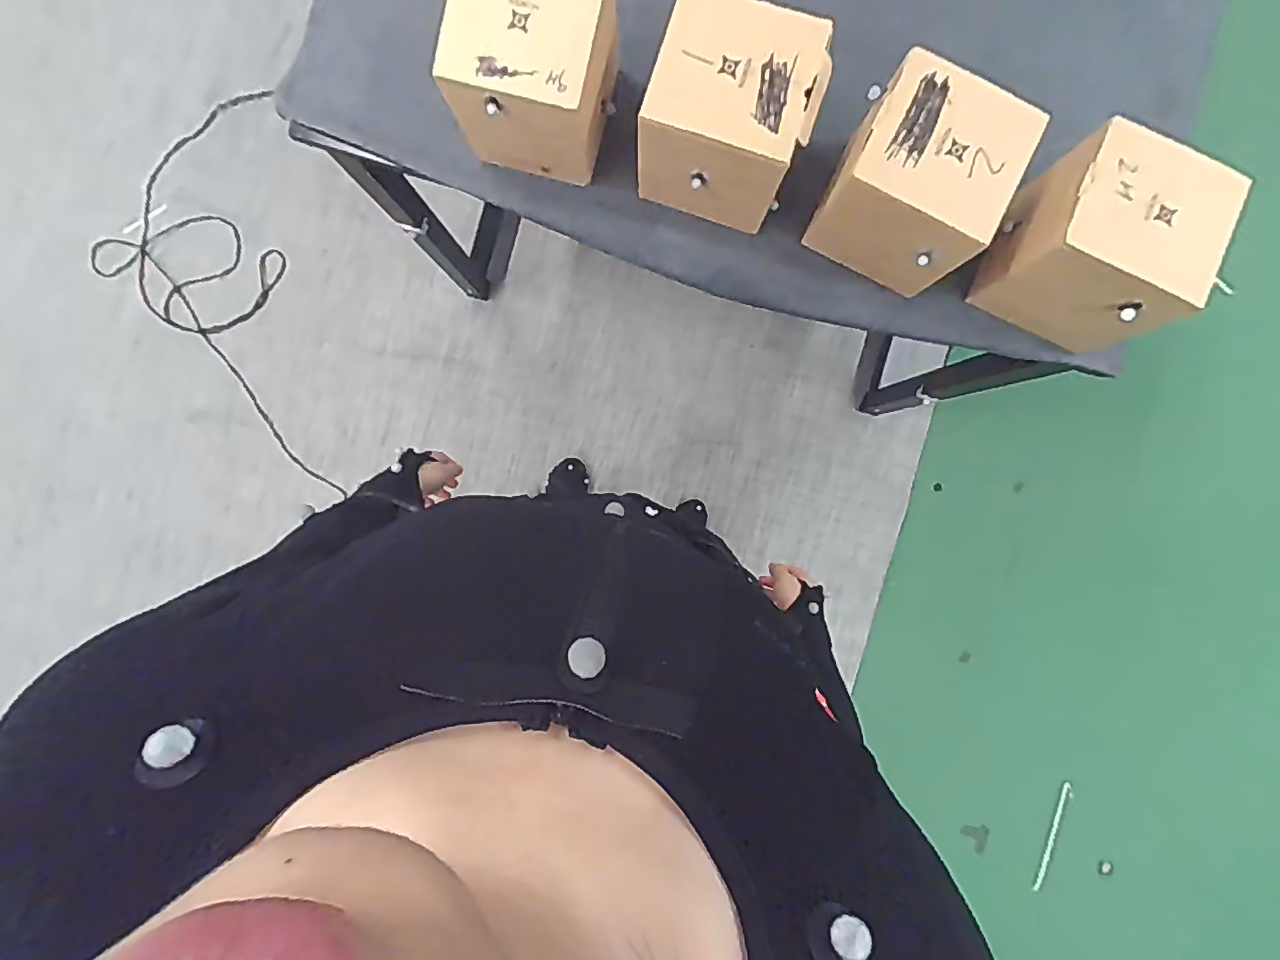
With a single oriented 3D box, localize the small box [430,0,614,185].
[{"bbox_3d":[-0.130,-0.508,0.666,0.168,0.176,0.179,14,91,0],"label":"small box"}]
